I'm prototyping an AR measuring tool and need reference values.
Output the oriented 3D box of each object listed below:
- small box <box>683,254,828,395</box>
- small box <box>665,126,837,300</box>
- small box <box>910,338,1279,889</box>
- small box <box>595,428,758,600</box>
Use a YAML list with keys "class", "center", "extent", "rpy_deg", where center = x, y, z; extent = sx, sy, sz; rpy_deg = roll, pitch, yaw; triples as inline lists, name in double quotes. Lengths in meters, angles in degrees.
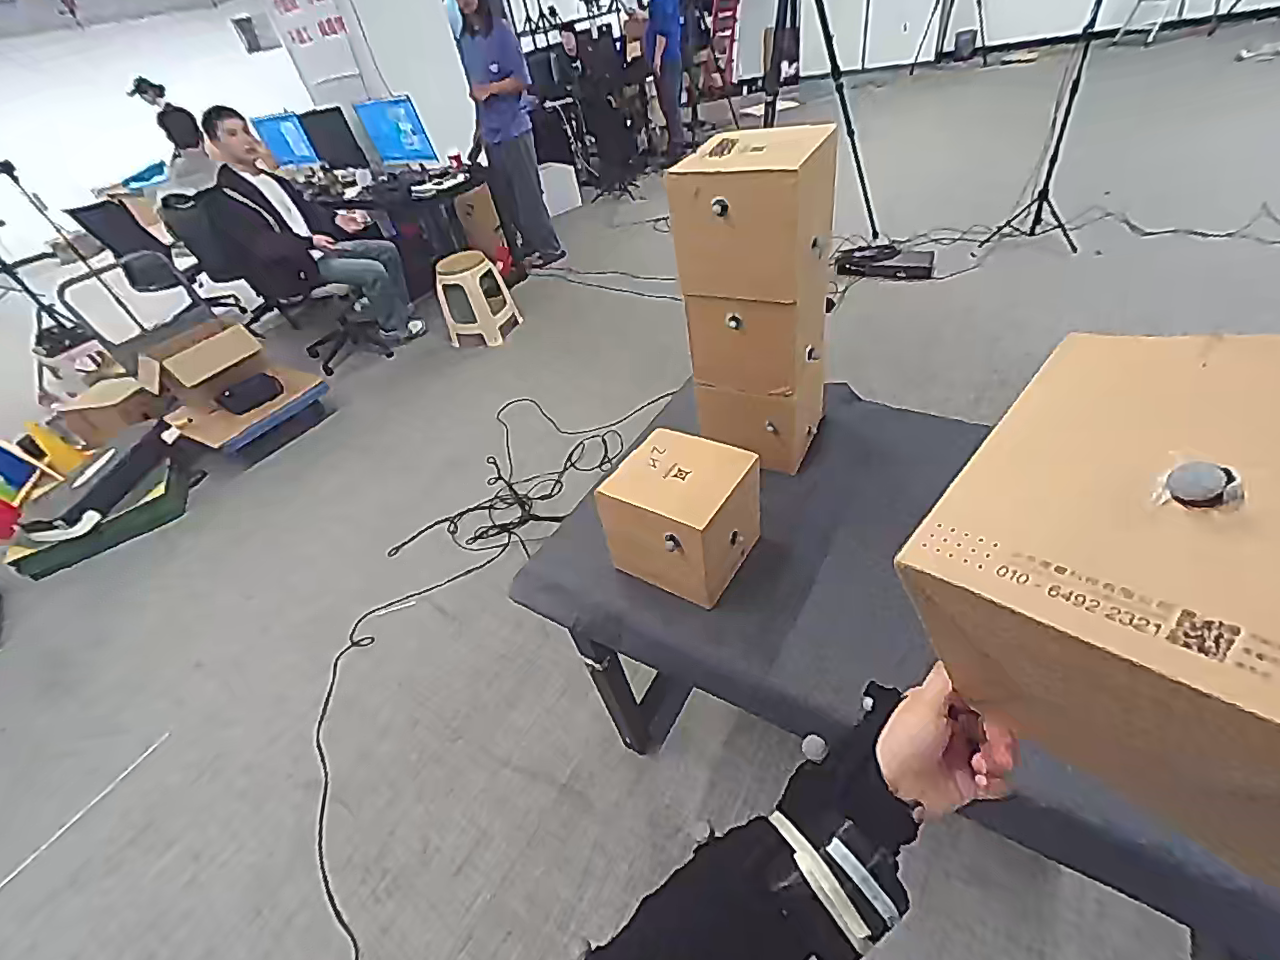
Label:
- class: "small box"
  center: [0.188, -0.256, 0.867]
  extent: [0.179, 0.176, 0.168]
  rpy_deg: [14, 51, 26]
- class: "small box"
  center: [0.157, -0.366, 0.749]
  extent: [0.179, 0.176, 0.168]
  rpy_deg: [16, 52, 27]
- class: "small box"
  center: [0.263, 0.057, 0.260]
  extent: [0.176, 0.179, 0.168]
  rpy_deg: [-47, 35, -11]
- class: "small box"
  center: [0.063, 0.051, 0.804]
  extent: [0.179, 0.176, 0.168]
  rpy_deg: [19, 48, 31]
